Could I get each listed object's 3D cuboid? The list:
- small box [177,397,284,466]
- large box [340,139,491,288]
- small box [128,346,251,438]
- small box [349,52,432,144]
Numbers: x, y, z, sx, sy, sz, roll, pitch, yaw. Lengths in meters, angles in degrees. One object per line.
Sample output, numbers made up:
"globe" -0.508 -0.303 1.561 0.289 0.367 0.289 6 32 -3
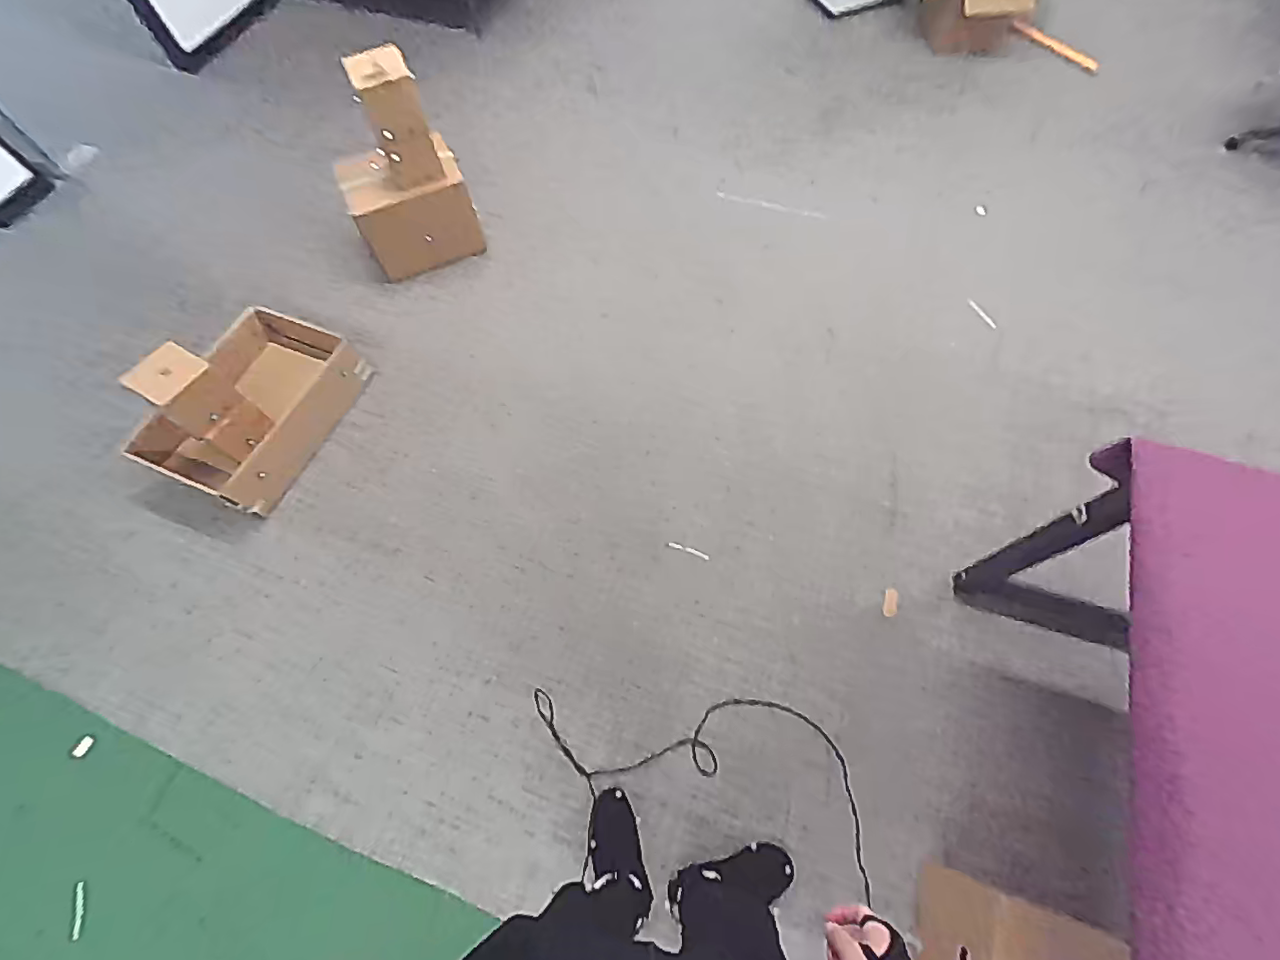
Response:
"small box" -1.287 -0.171 1.708 0.179 0.176 0.168 24 64 12
"large box" -0.848 -1.018 2.078 0.408 0.320 0.320 -25 65 -8
"small box" -1.293 -0.249 1.565 0.179 0.176 0.168 27 66 13
"small box" -0.781 -1.194 1.705 0.168 0.176 0.179 -24 65 -9
